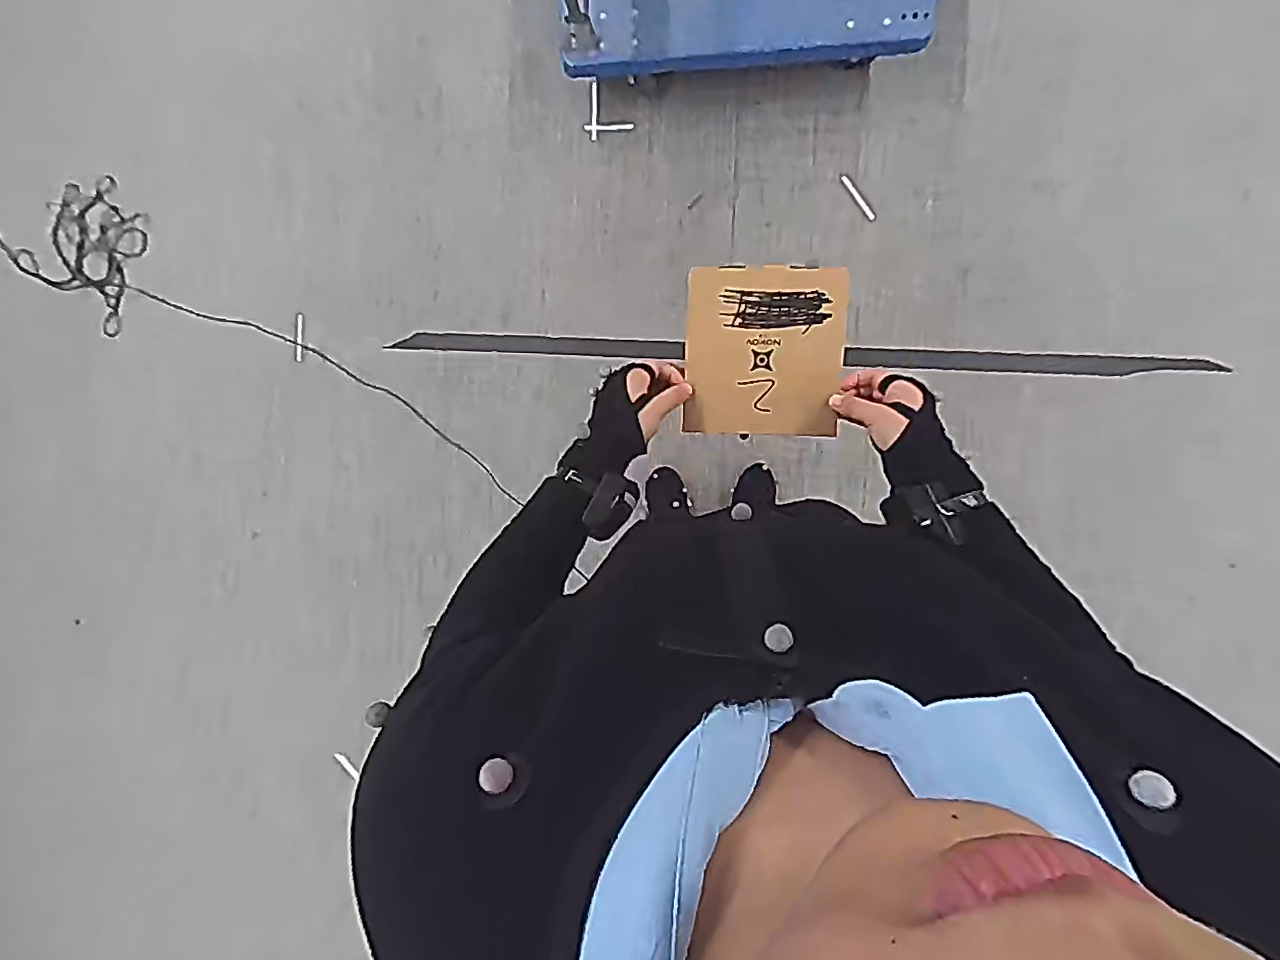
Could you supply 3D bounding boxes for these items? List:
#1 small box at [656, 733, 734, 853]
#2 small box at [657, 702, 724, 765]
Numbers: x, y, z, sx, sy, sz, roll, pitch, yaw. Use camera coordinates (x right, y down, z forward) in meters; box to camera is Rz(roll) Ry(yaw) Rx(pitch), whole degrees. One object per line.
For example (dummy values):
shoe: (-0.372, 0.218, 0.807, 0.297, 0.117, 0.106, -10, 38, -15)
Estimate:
small box: (0.132, 0.731, 1.277, 0.168, 0.176, 0.179, 3, 92, 6)
small box: (0.143, 0.719, 1.440, 0.168, 0.176, 0.179, -9, 91, 6)
